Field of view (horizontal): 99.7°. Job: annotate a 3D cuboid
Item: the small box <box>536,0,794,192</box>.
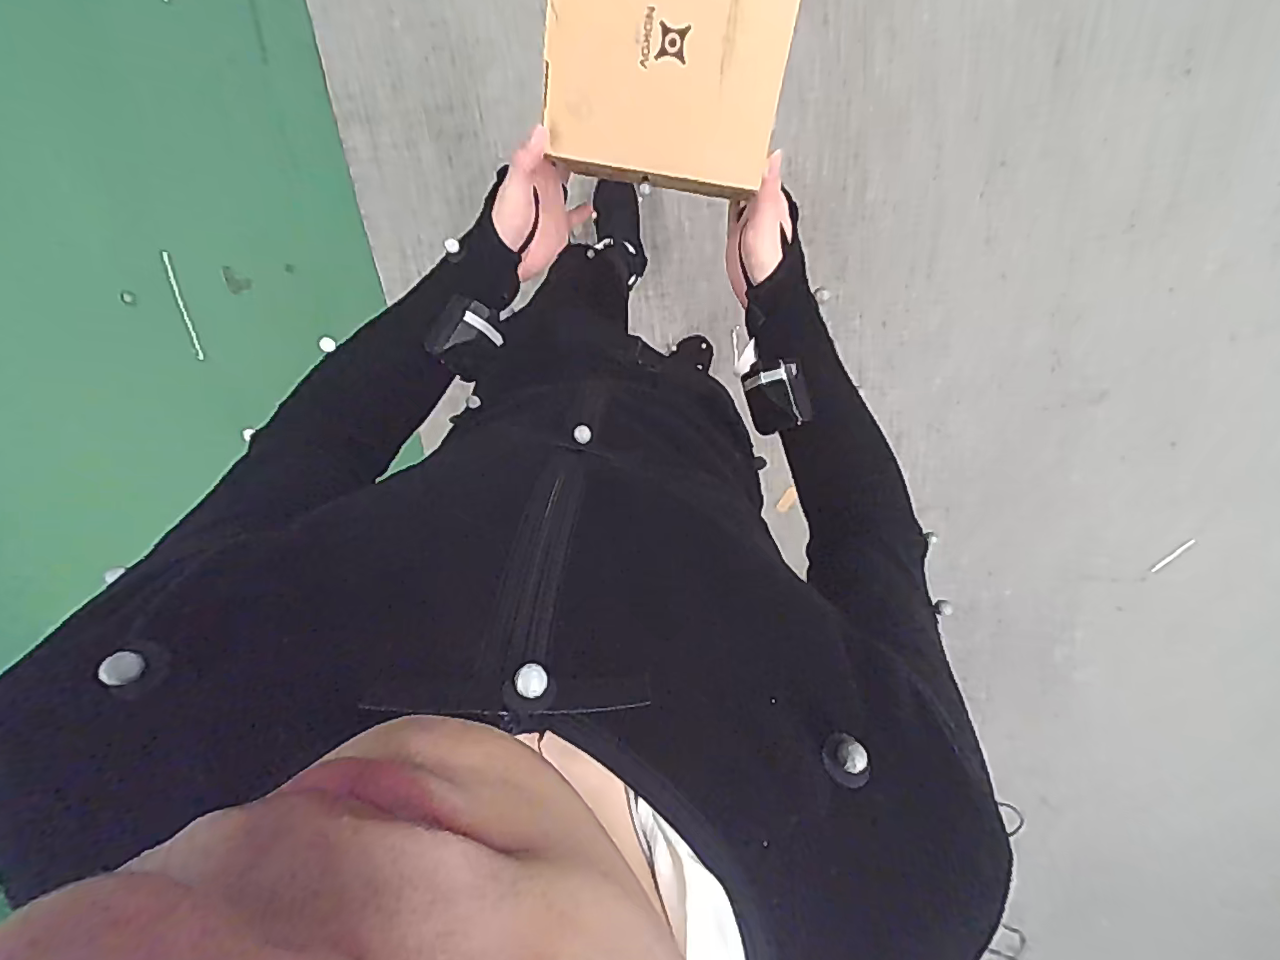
[{"bbox_3d":[0.023,-0.352,0.461,0.179,0.176,0.168,10,116,0],"label":"small box"}]
